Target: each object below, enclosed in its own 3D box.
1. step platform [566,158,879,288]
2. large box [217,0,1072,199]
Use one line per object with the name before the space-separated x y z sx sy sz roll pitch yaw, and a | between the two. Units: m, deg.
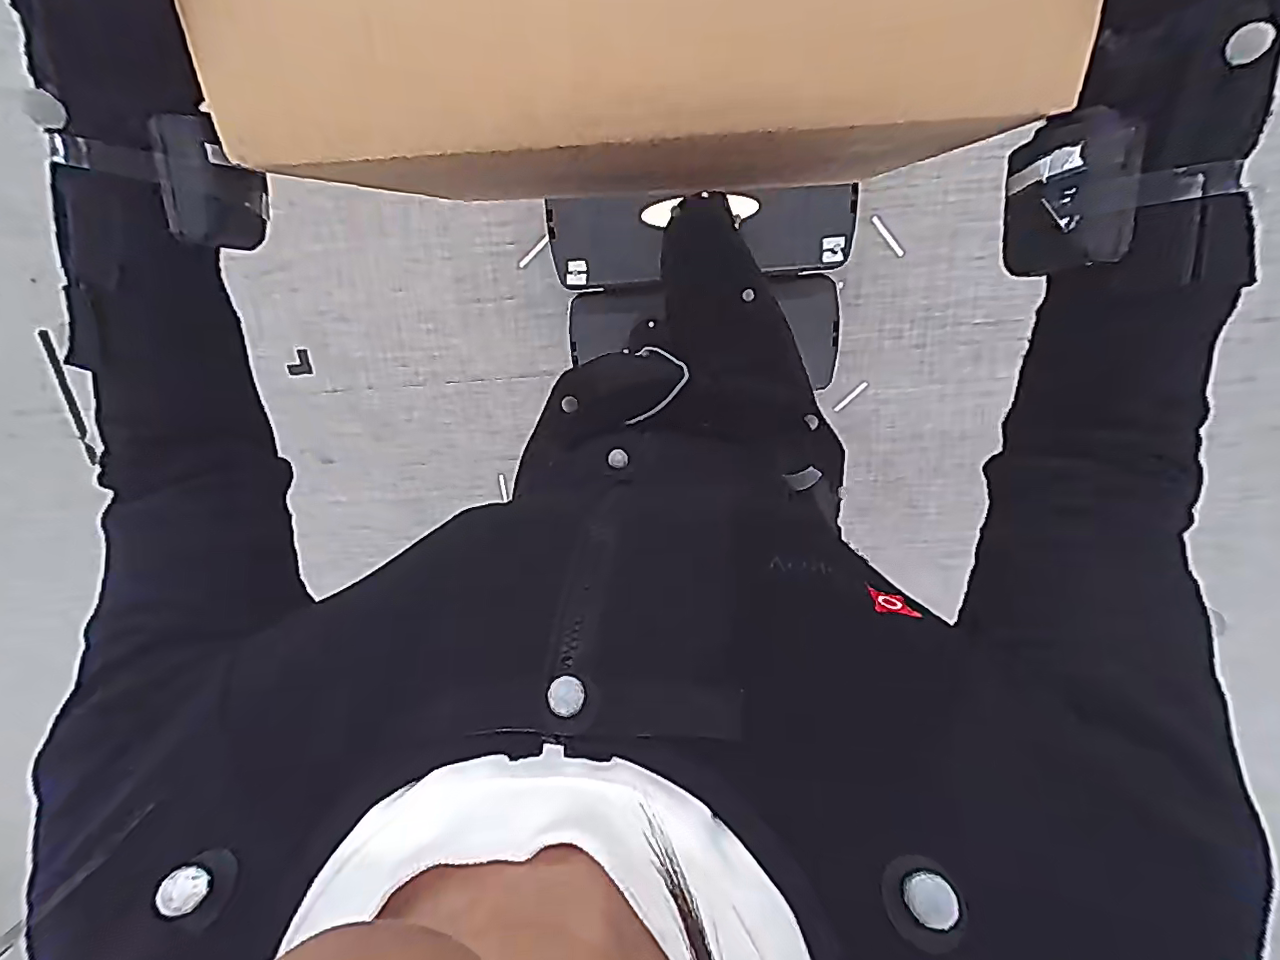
step platform | 0.175 -0.617 1.237 0.684 0.204 0.286 -4 110 4
large box | -0.003 -0.376 0.346 0.408 0.320 0.320 -1 115 5
